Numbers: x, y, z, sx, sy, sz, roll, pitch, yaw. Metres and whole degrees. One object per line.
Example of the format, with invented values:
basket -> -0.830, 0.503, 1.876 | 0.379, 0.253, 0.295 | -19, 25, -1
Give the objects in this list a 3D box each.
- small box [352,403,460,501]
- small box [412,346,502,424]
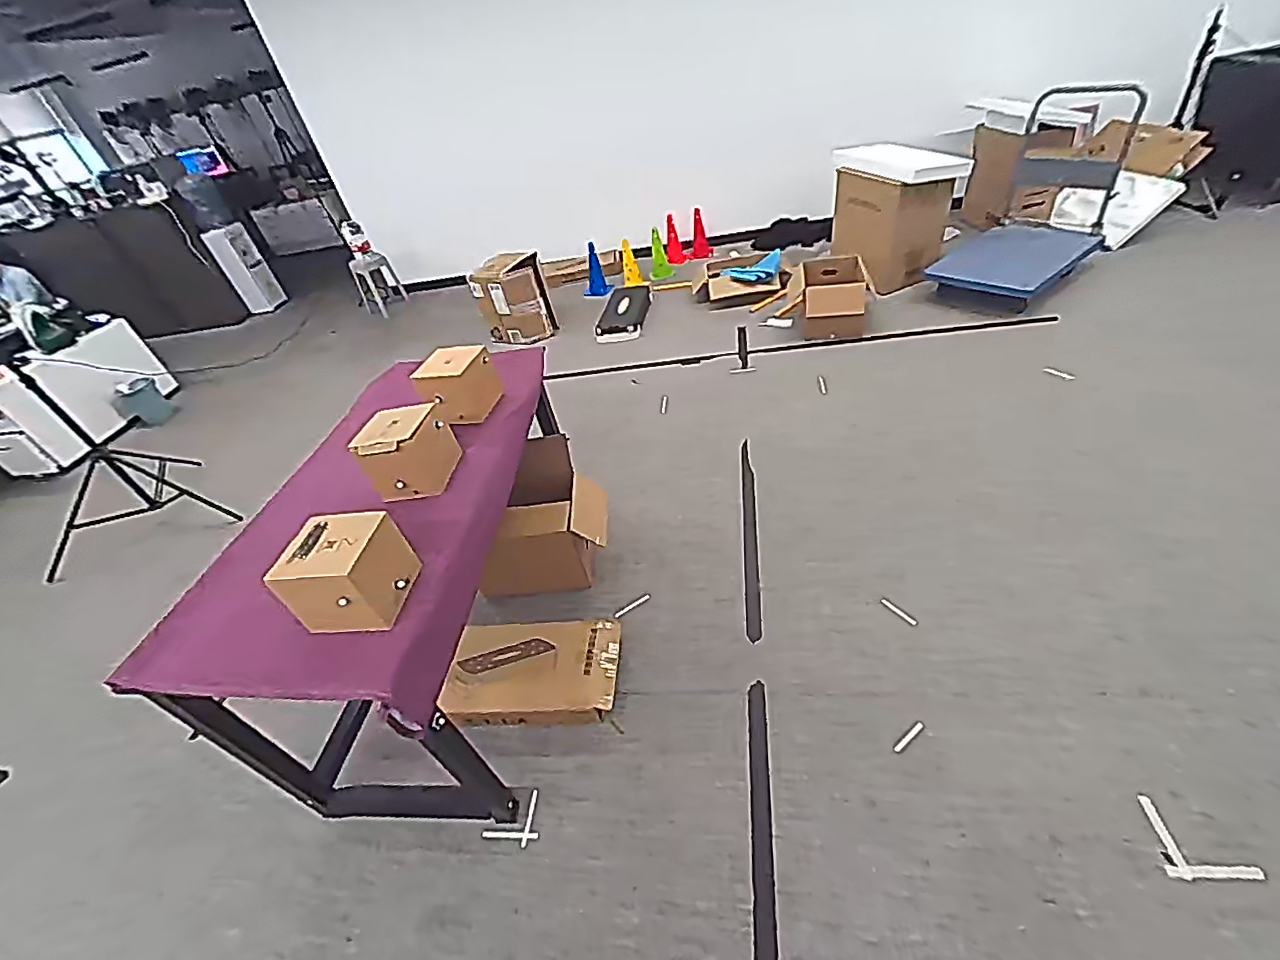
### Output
small box -> -0.579, -0.070, 1.370 | 0.168, 0.176, 0.179 | -7, 40, 11
small box -> -0.533, -0.278, 1.607 | 0.168, 0.176, 0.179 | -1, 41, 15
